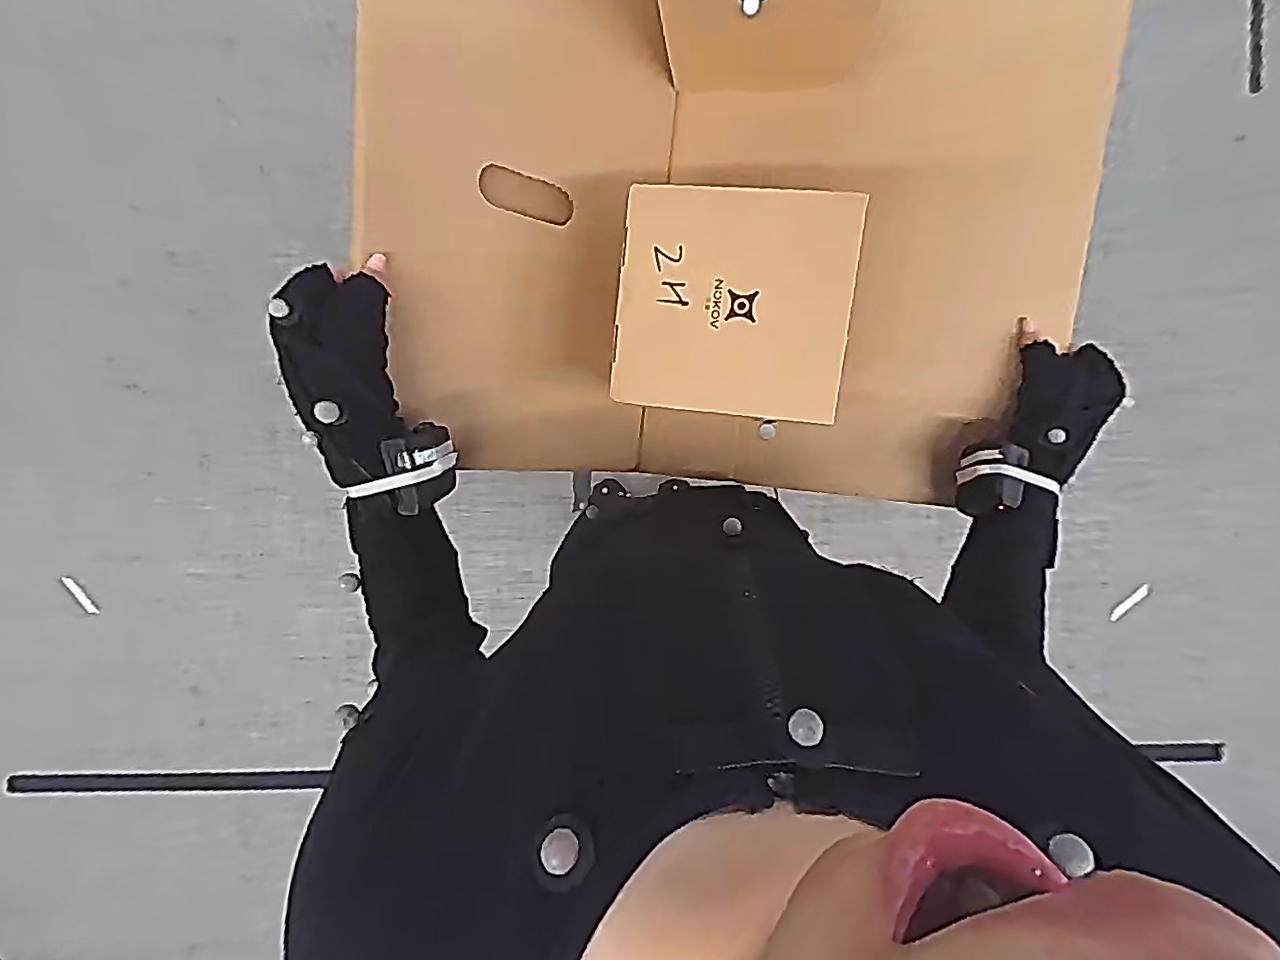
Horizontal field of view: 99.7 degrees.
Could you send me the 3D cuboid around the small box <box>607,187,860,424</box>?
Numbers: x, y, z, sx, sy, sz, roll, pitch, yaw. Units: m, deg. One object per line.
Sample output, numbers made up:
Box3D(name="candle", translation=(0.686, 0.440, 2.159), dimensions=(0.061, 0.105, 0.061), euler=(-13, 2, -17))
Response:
Box3D(name="small box", translation=(0.080, -0.145, 0.495), dimensions=(0.179, 0.176, 0.168), euler=(8, 97, 9))
